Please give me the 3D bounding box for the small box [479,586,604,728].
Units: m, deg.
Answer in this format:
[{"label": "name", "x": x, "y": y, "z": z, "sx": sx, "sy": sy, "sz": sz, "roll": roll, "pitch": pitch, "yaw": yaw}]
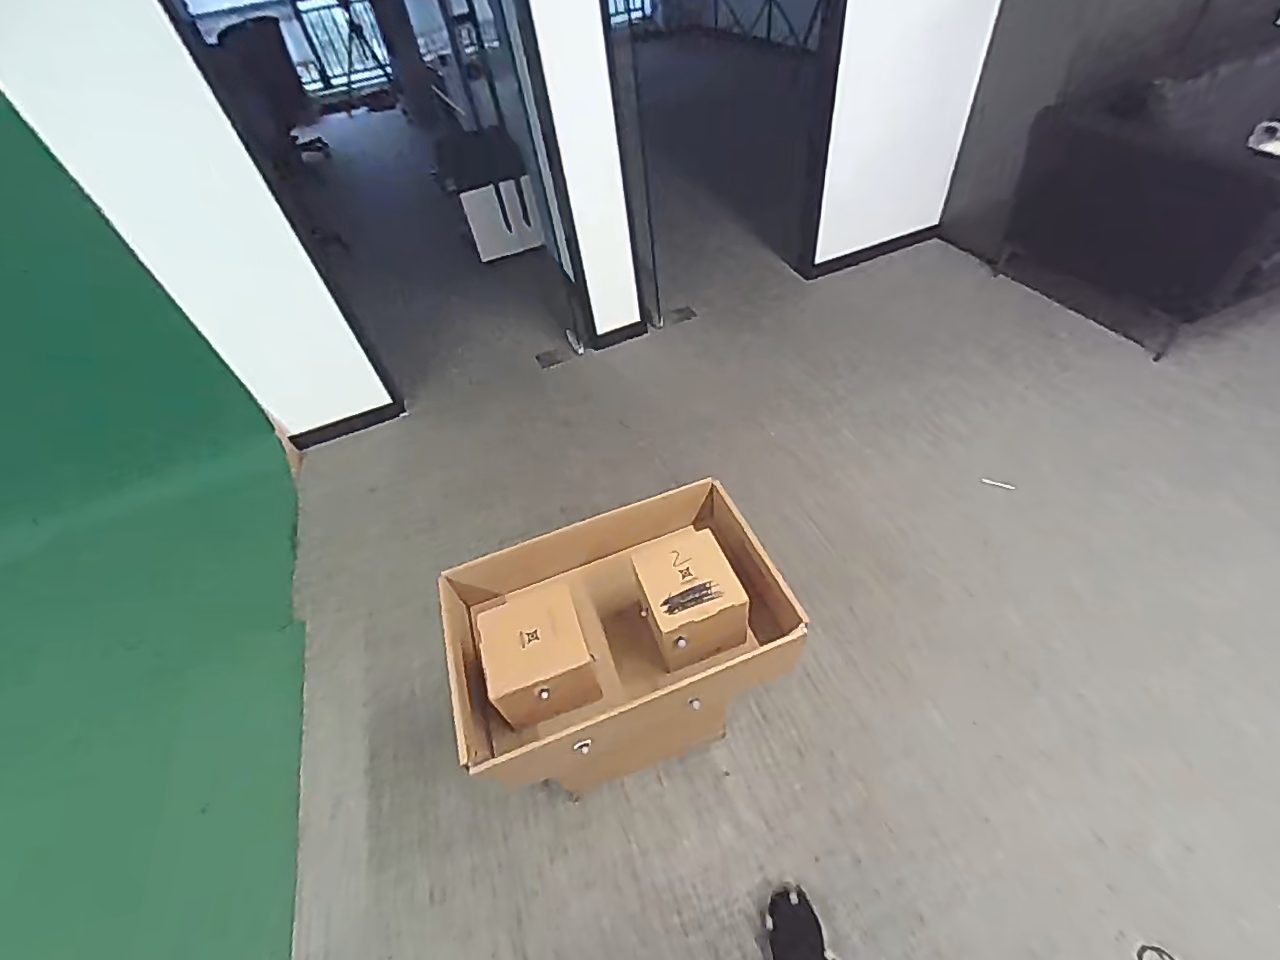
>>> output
[{"label": "small box", "x": -0.180, "y": 0.330, "z": 1.000, "sx": 0.179, "sy": 0.176, "sz": 0.168, "roll": -17, "pitch": 49, "yaw": -8}]
